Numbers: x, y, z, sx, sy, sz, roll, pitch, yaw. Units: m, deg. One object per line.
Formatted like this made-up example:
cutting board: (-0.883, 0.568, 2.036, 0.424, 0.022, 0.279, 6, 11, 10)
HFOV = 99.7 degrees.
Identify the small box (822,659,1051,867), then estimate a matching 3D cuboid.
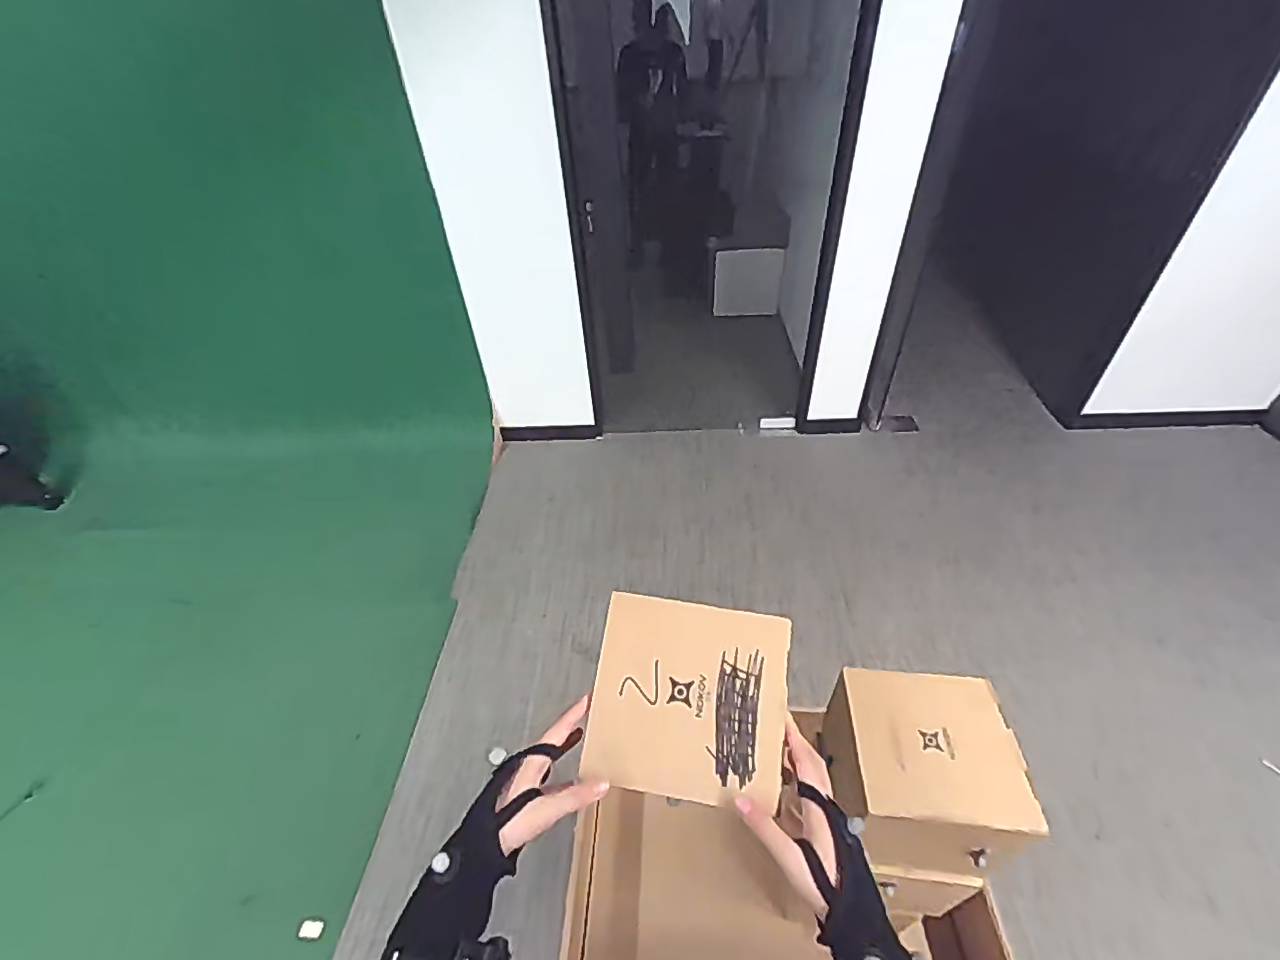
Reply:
small box: (0.328, 0.338, 0.645, 0.179, 0.176, 0.168, 2, 41, 8)

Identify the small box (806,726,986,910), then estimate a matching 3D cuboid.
small box: (0.330, 0.466, 0.746, 0.179, 0.176, 0.168, 3, 42, 7)
